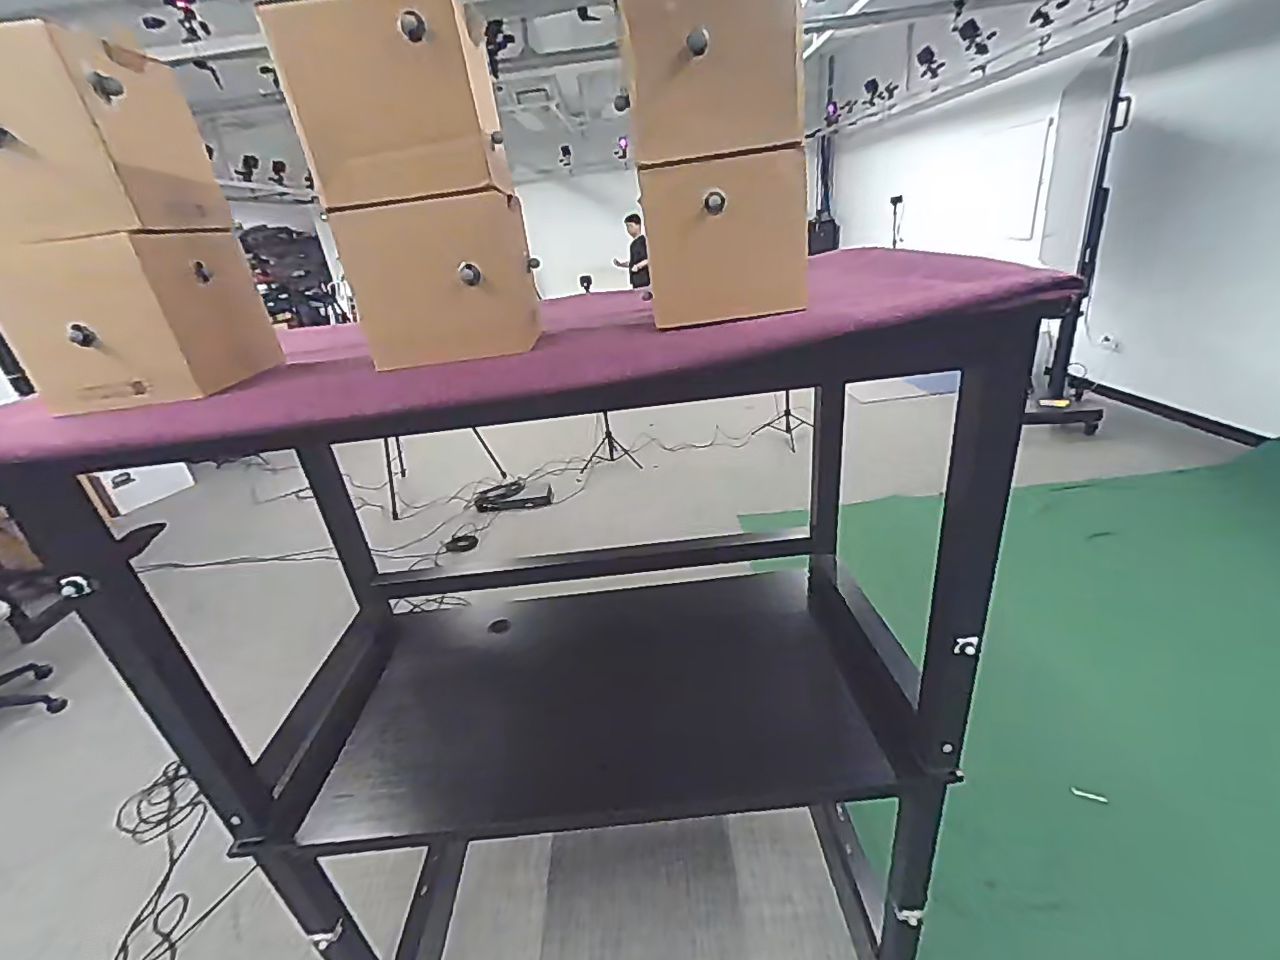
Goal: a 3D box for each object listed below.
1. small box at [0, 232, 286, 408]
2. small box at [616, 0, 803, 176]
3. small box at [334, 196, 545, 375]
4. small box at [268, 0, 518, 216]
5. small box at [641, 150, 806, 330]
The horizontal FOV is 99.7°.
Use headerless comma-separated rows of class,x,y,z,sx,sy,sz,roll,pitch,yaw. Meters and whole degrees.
small box,-0.558,-0.186,0.631,0.168,0.176,0.179,-7,25,-1
small box,0.076,-0.437,0.608,0.179,0.176,0.168,-7,23,4
small box,-0.220,-0.235,0.654,0.179,0.176,0.168,-8,24,1
small box,-0.245,-0.383,0.589,0.179,0.176,0.168,-8,24,-1
small box,0.099,-0.286,0.670,0.179,0.176,0.168,-6,22,3
